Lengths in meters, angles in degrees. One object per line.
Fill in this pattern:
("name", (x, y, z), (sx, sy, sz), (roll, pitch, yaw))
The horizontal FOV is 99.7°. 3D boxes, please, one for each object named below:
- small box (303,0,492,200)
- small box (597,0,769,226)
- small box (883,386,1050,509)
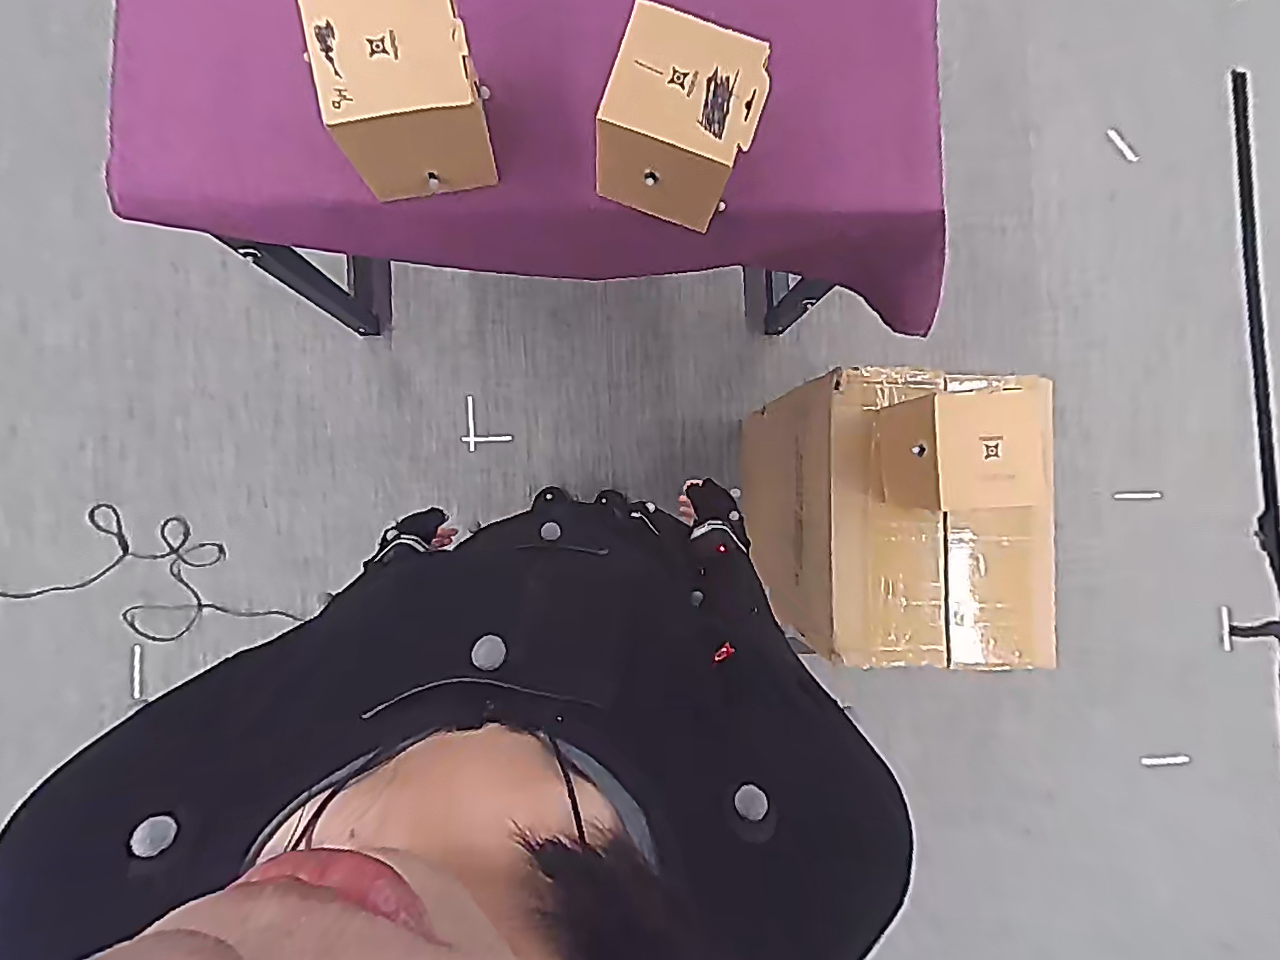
("small box", (-0.301, -0.502, 0.713), (0.179, 0.176, 0.168), (-12, 88, -6))
("small box", (0.048, -0.481, 0.740), (0.179, 0.176, 0.168), (18, 86, -3))
("small box", (0.507, -0.046, 0.864), (0.168, 0.176, 0.179), (-4, 90, -2))
